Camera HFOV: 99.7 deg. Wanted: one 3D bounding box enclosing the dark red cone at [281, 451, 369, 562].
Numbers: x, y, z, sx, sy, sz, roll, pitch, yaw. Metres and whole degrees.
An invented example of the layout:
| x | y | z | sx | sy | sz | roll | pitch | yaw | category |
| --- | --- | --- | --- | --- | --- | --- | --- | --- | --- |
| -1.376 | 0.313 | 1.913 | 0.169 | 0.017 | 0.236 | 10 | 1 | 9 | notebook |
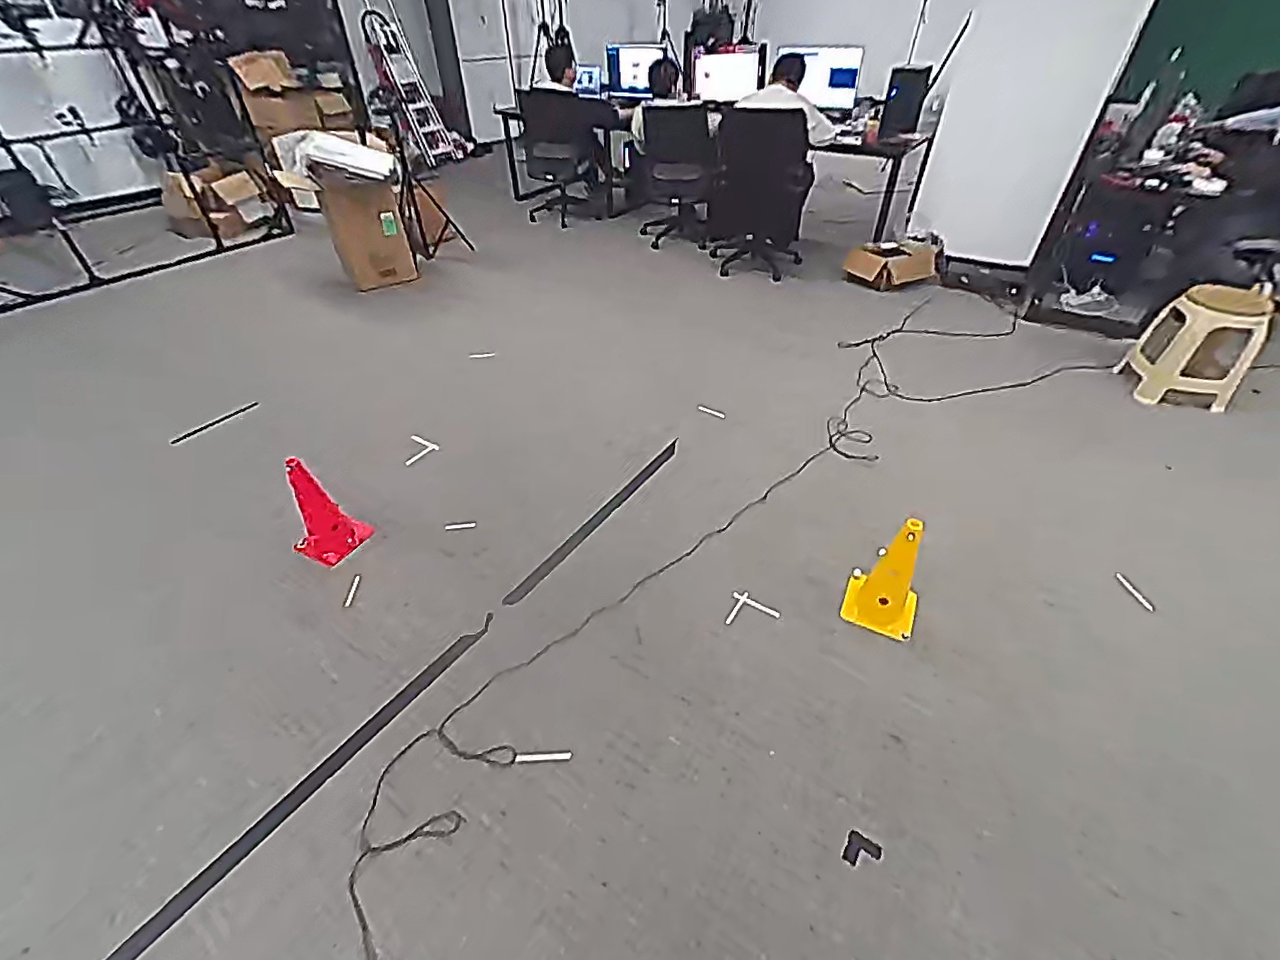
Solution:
| x | y | z | sx | sy | sz | roll | pitch | yaw | category |
| --- | --- | --- | --- | --- | --- | --- | --- | --- | --- |
| -1.085 | 0.071 | 1.782 | 0.201 | 0.394 | 0.202 | 18 | 44 | 20 | dark red cone |
